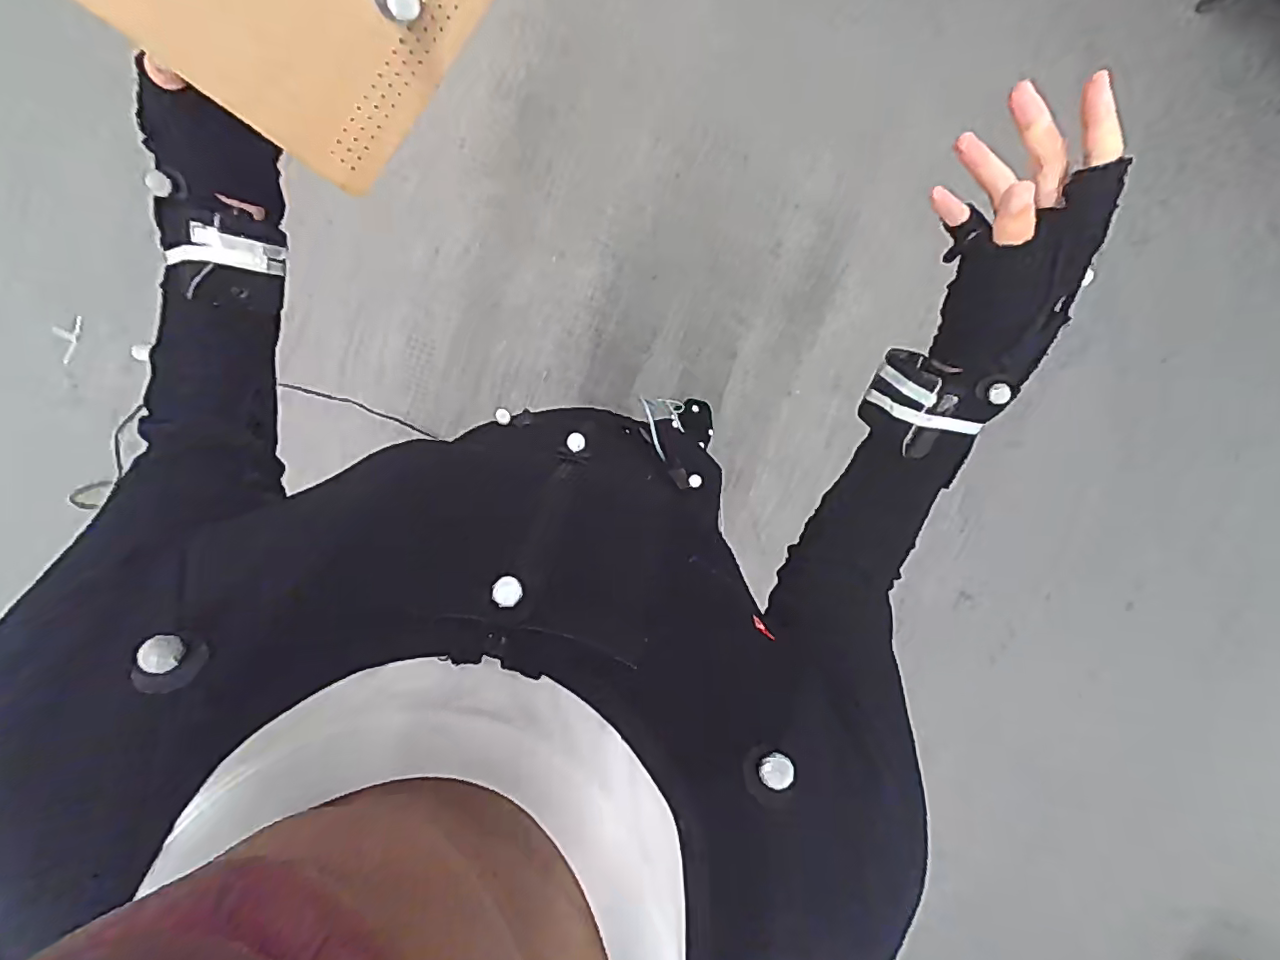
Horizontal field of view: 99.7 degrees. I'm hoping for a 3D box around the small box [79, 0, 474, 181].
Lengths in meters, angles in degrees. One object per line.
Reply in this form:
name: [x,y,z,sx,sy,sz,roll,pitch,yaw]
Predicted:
small box: [-0.184,-0.279,0.228,0.168,0.176,0.179,42,99,18]
